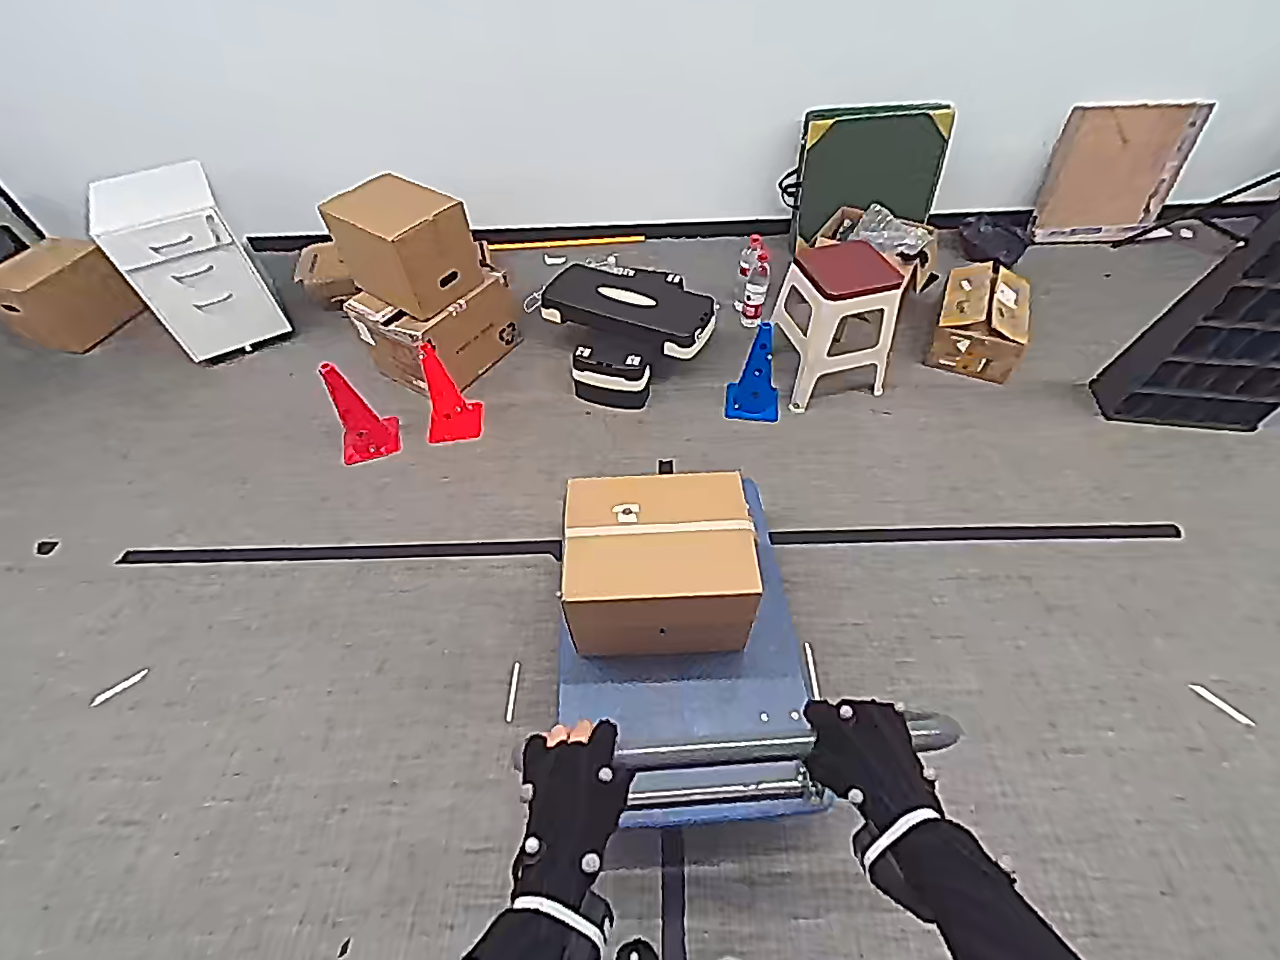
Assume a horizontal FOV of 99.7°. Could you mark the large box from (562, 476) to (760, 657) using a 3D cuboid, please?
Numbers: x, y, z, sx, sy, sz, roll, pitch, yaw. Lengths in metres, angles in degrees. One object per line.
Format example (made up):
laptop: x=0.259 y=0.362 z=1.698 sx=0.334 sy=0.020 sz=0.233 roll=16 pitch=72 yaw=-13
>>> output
large box: x=0.043 y=0.213 z=1.287 sx=0.408 sy=0.320 sz=0.320 roll=-3 pitch=51 yaw=0
